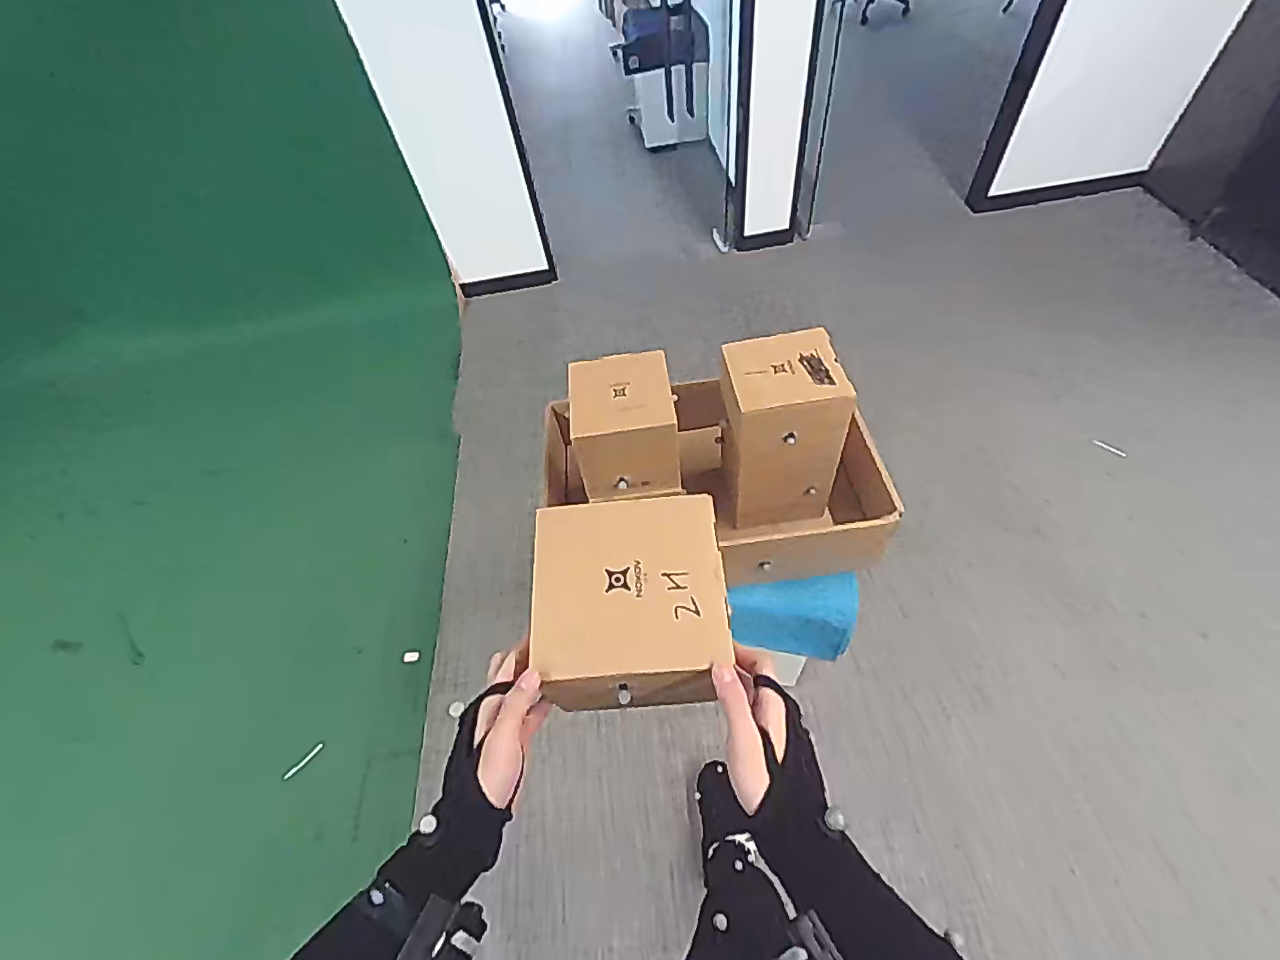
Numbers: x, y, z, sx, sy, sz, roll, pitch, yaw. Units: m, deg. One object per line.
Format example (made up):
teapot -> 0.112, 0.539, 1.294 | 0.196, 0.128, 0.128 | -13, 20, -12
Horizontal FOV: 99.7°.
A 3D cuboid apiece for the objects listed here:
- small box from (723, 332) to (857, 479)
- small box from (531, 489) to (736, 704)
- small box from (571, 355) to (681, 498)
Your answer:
small box -> 0.239, -0.121, 0.913 | 0.179, 0.176, 0.168 | -9, 52, 3
small box -> -0.003, 0.127, 0.557 | 0.179, 0.176, 0.168 | -5, 59, 2
small box -> -0.023, -0.087, 0.926 | 0.168, 0.176, 0.179 | -8, 52, 1
